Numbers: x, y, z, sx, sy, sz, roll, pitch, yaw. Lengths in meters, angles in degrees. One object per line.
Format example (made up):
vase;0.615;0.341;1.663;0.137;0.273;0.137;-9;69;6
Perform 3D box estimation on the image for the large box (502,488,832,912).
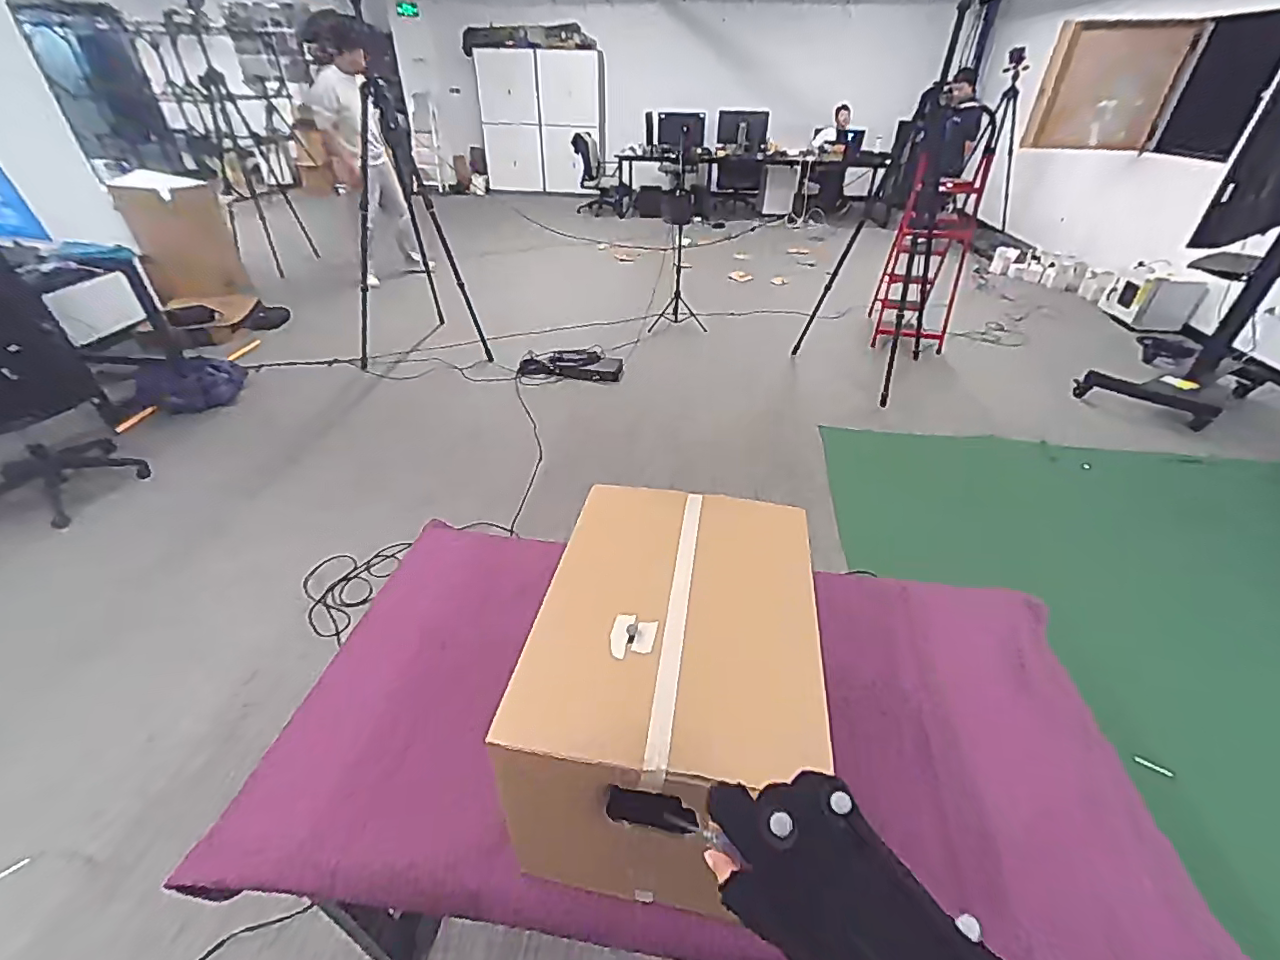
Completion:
large box;0.045;0.266;0.732;0.320;0.320;0.408;7;37;8
